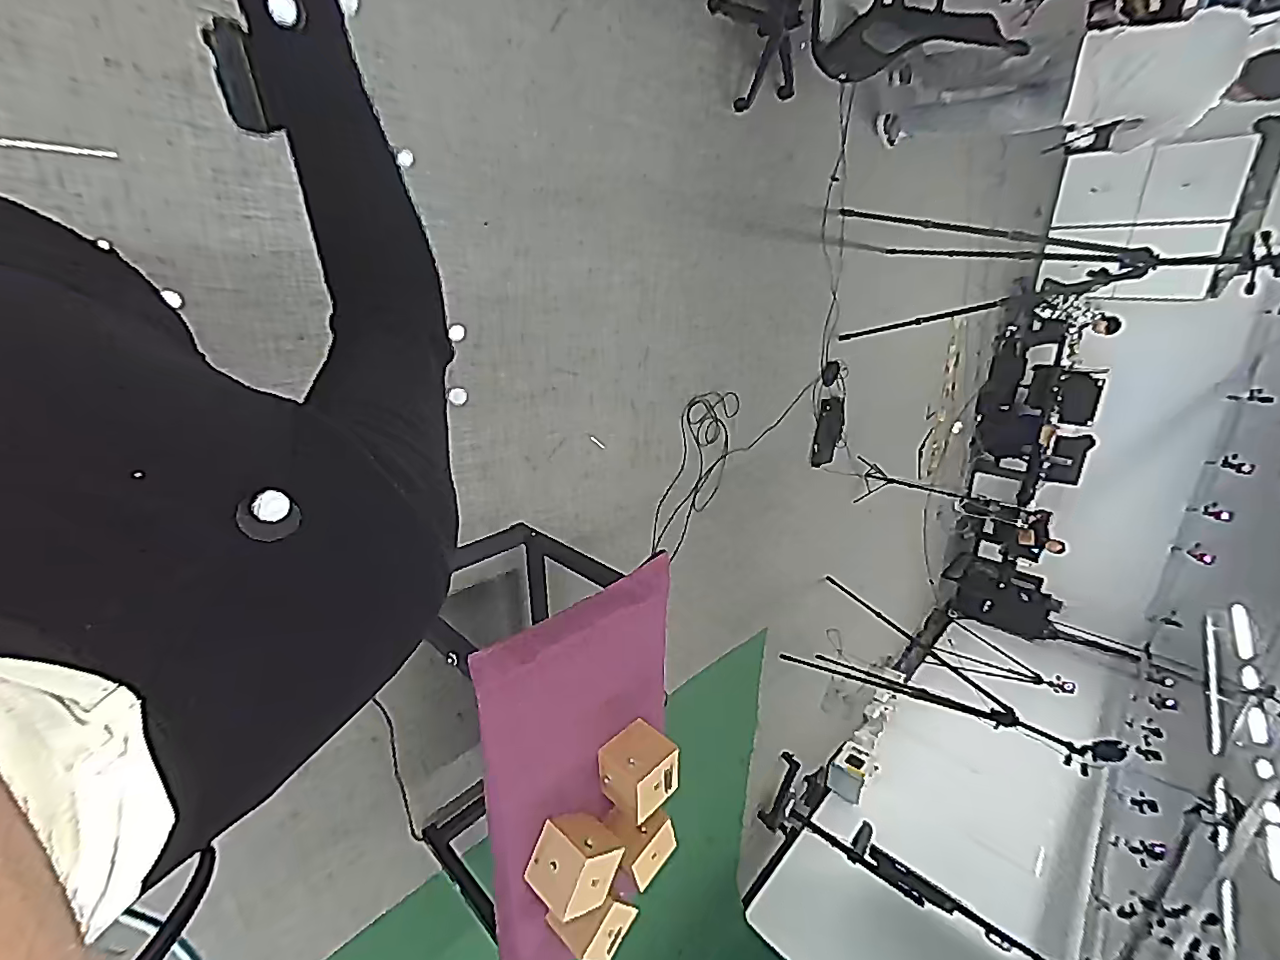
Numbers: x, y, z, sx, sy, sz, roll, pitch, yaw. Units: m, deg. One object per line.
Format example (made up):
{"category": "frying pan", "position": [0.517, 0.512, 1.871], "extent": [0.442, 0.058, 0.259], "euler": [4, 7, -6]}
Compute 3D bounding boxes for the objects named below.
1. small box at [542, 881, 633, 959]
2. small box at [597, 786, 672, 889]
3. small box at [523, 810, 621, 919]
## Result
{"category": "small box", "position": [-0.158, 1.300, 1.631], "extent": [0.168, 0.176, 0.179], "euler": [-52, 135, -23]}
{"category": "small box", "position": [-0.027, 1.129, 1.719], "extent": [0.179, 0.176, 0.168], "euler": [-35, 128, -35]}
{"category": "small box", "position": [-0.192, 1.052, 1.497], "extent": [0.179, 0.176, 0.168], "euler": [31, 80, -51]}
